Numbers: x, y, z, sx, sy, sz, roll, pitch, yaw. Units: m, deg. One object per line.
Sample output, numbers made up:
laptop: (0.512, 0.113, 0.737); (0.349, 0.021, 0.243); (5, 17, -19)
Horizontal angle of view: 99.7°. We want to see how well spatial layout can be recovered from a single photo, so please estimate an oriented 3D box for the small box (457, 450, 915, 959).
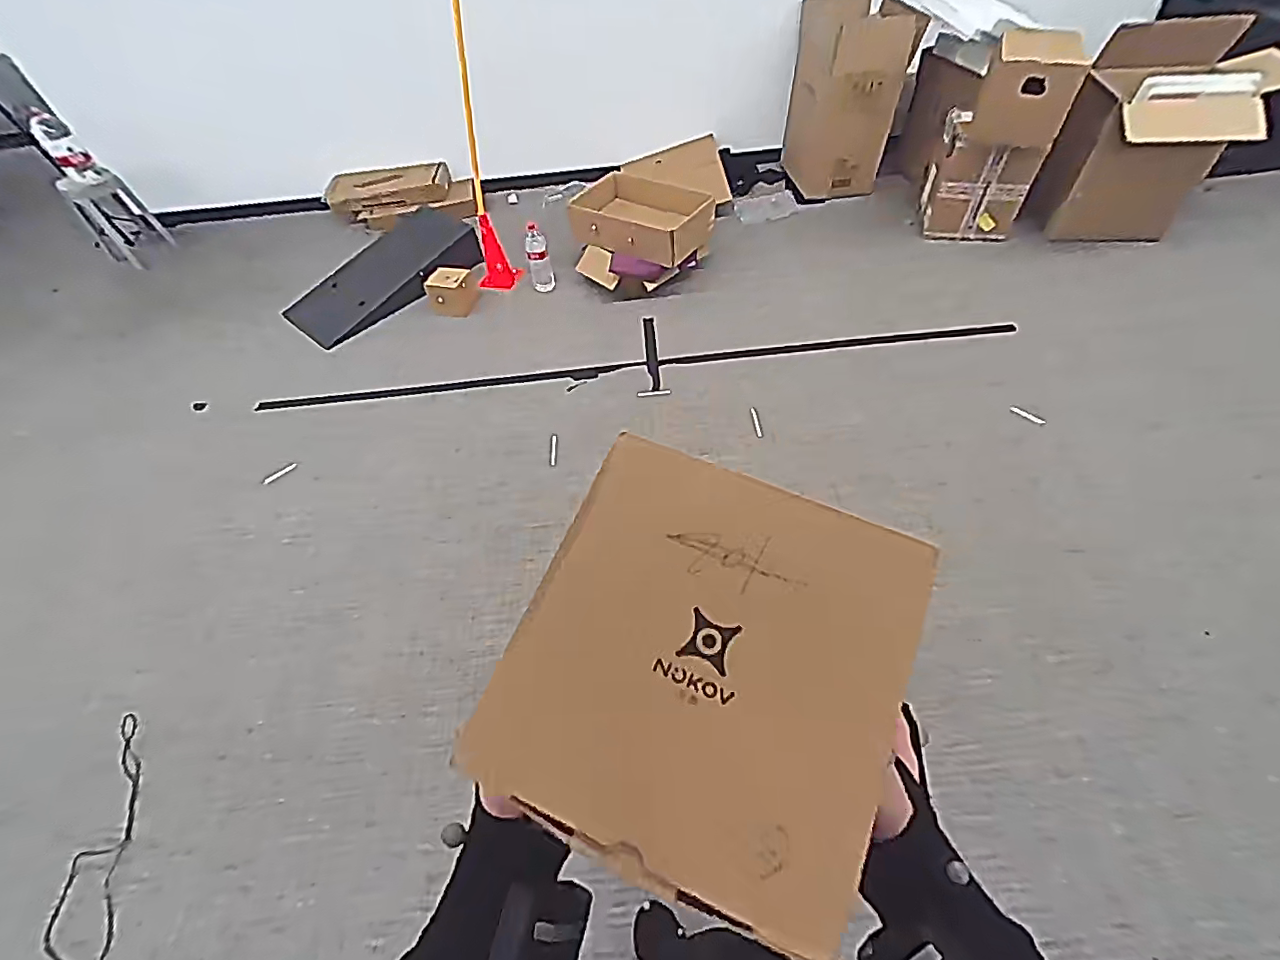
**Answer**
small box: (0.031, 0.115, 0.322); (0.168, 0.176, 0.179); (20, 69, 12)
